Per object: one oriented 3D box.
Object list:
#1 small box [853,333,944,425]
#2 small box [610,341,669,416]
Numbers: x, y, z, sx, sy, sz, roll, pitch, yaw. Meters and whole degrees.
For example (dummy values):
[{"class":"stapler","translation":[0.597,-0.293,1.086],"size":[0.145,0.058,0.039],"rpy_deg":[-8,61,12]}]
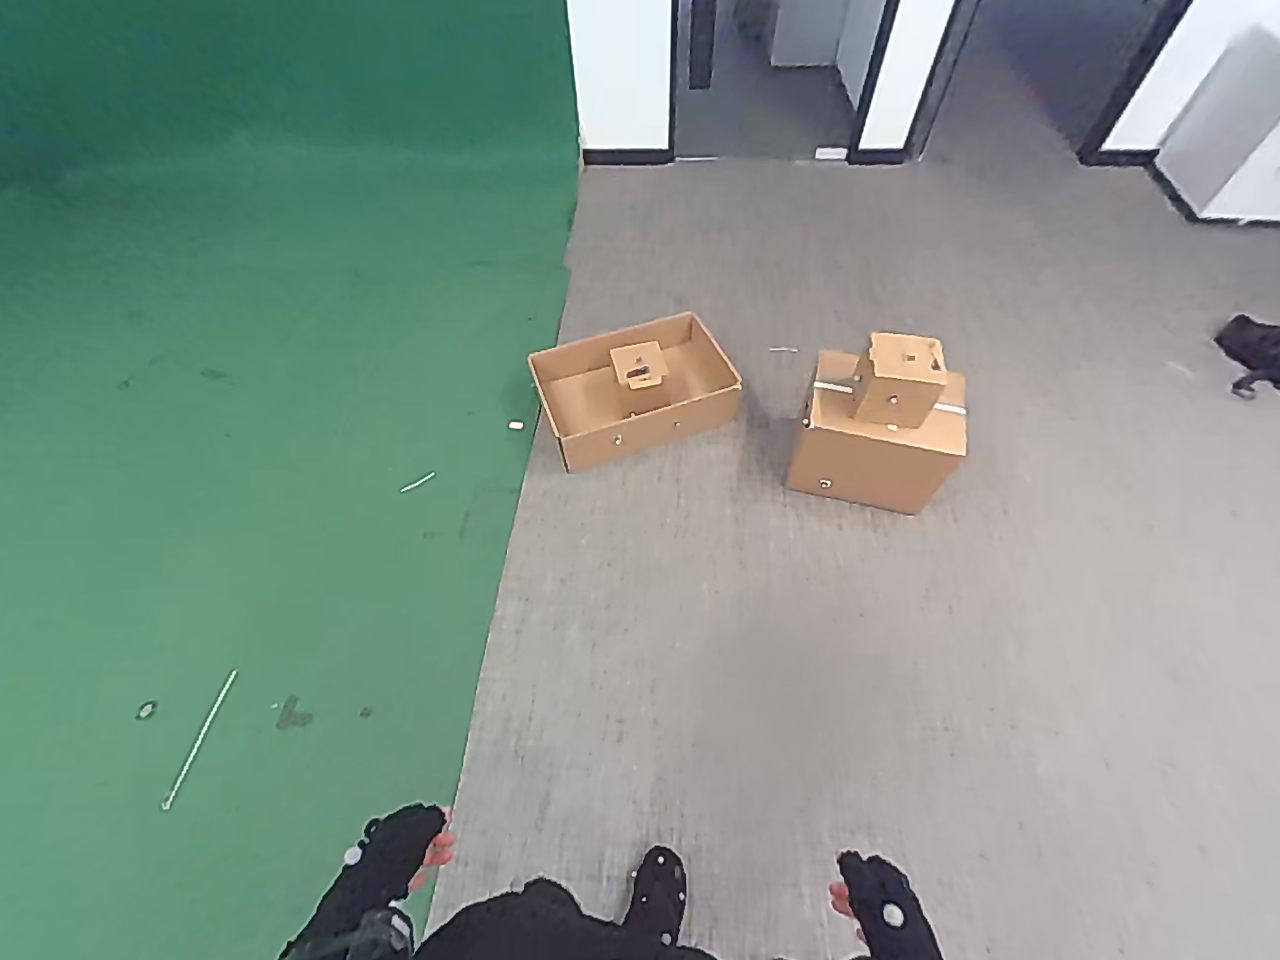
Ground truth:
[{"class":"small box","translation":[0.667,-0.263,1.420],"size":[0.179,0.176,0.168],"rpy_deg":[8,57,8]},{"class":"small box","translation":[0.001,-0.331,1.807],"size":[0.168,0.176,0.179],"rpy_deg":[-12,54,-5]}]
